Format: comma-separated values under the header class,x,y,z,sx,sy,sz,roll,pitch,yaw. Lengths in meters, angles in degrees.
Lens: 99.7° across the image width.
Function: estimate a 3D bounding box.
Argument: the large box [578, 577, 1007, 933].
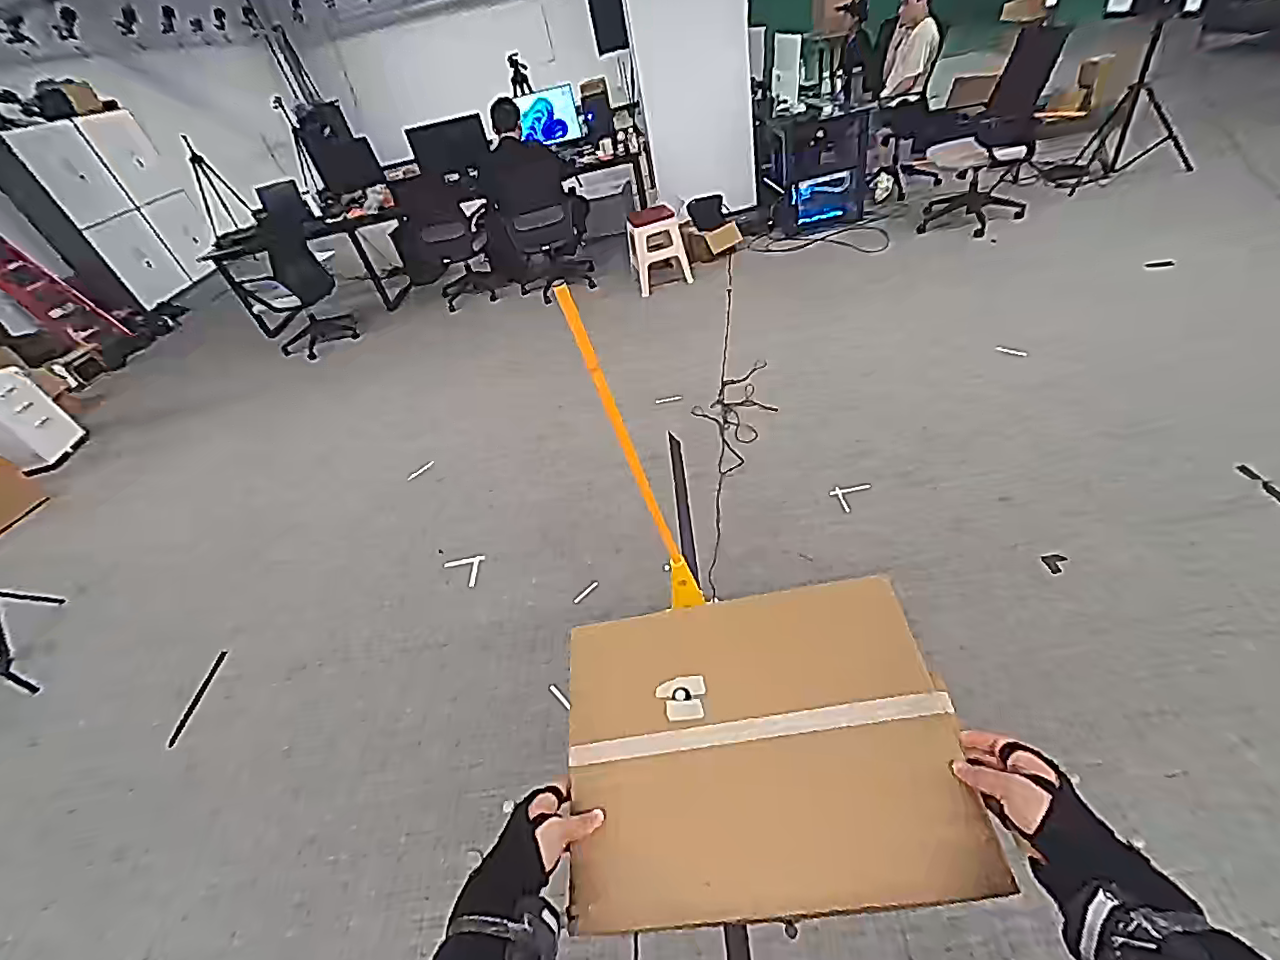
class,x,y,z,sx,sy,sz,roll,pitch,yaw
large box,0.161,0.369,0.706,0.408,0.320,0.320,-13,48,9
